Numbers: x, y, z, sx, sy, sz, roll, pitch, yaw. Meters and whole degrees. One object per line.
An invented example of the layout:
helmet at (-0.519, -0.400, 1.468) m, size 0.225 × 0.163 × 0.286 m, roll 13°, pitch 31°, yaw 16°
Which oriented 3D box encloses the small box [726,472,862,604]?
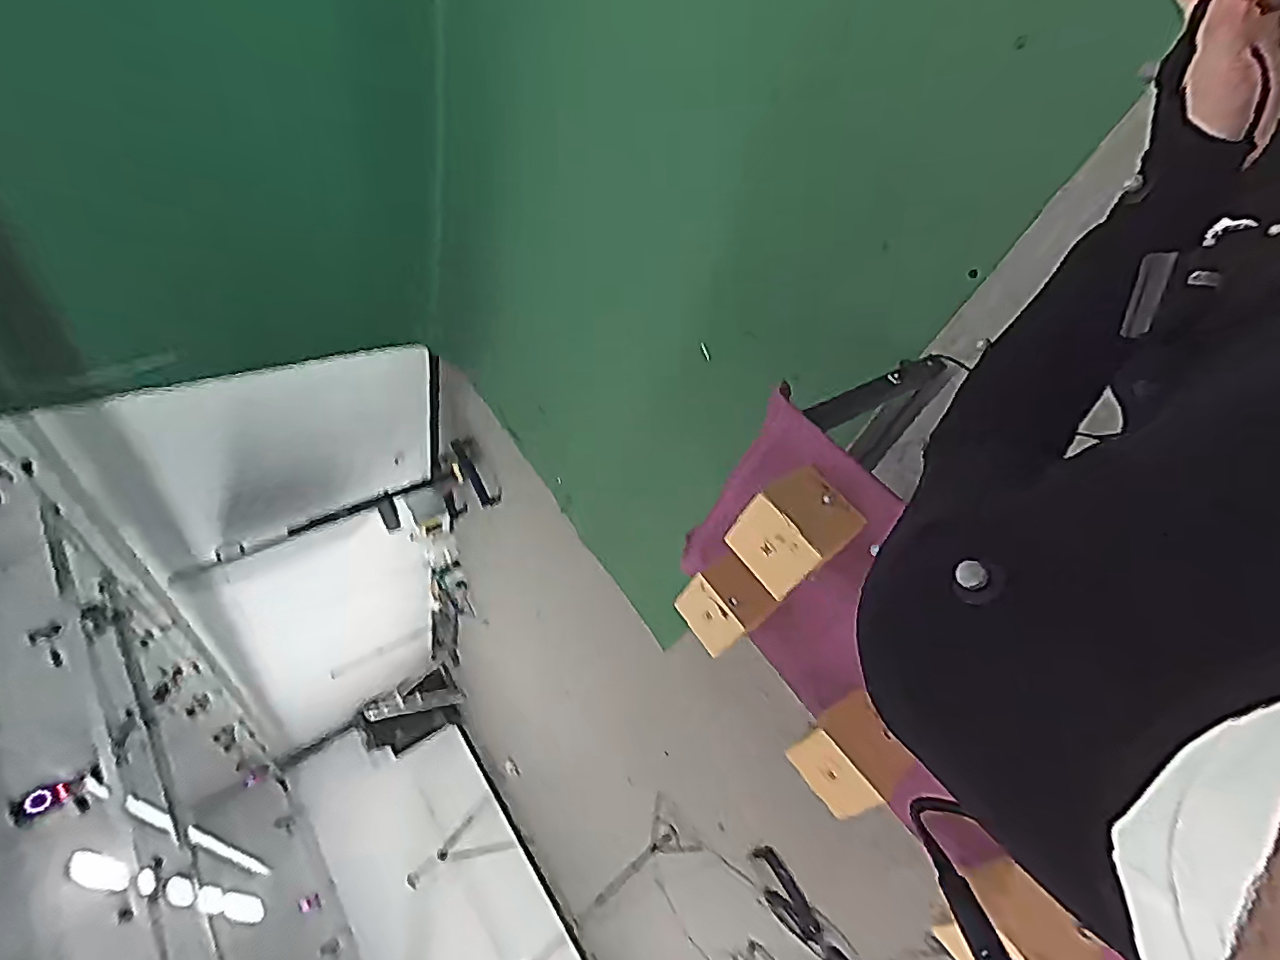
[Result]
small box at (0.312, 0.114, 1.096) m, size 0.168 × 0.176 × 0.179 m, roll 49°, pitch 141°, yaw 21°

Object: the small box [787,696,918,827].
small box at (0.464, 0.609, 1.178) m, size 0.168 × 0.176 × 0.179 m, roll 48°, pitch 140°, yaw 24°

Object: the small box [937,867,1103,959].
small box at (0.702, 0.858, 0.998) m, size 0.168 × 0.176 × 0.179 m, roll 47°, pitch 141°, yaw 27°

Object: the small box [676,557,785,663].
small box at (0.224, 0.312, 1.329) m, size 0.168 × 0.176 × 0.179 m, roll 50°, pitch 142°, yaw 21°
